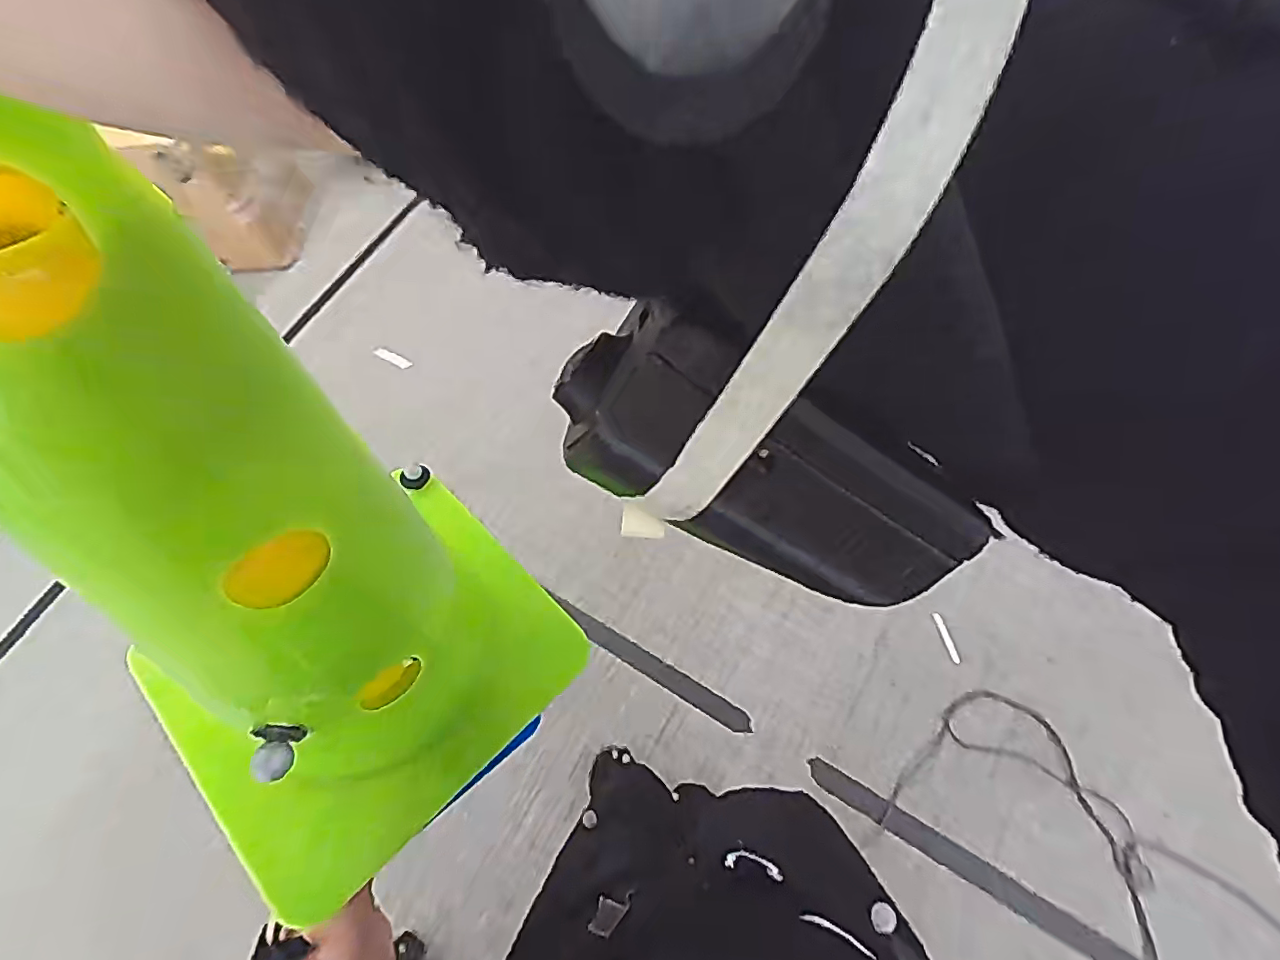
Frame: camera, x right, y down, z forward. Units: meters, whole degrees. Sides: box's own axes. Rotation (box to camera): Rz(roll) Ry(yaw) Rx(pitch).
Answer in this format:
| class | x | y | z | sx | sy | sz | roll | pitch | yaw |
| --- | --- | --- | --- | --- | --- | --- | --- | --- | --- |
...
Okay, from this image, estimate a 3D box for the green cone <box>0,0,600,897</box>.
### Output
| class | x | y | z | sx | sy | sz | roll | pitch | yaw |
| --- | --- | --- | --- | --- | --- | --- | --- | --- | --- |
| green cone | -0.130 | -0.005 | 0.183 | 0.202 | 0.368 | 0.200 | 42 | 60 | 17 |
